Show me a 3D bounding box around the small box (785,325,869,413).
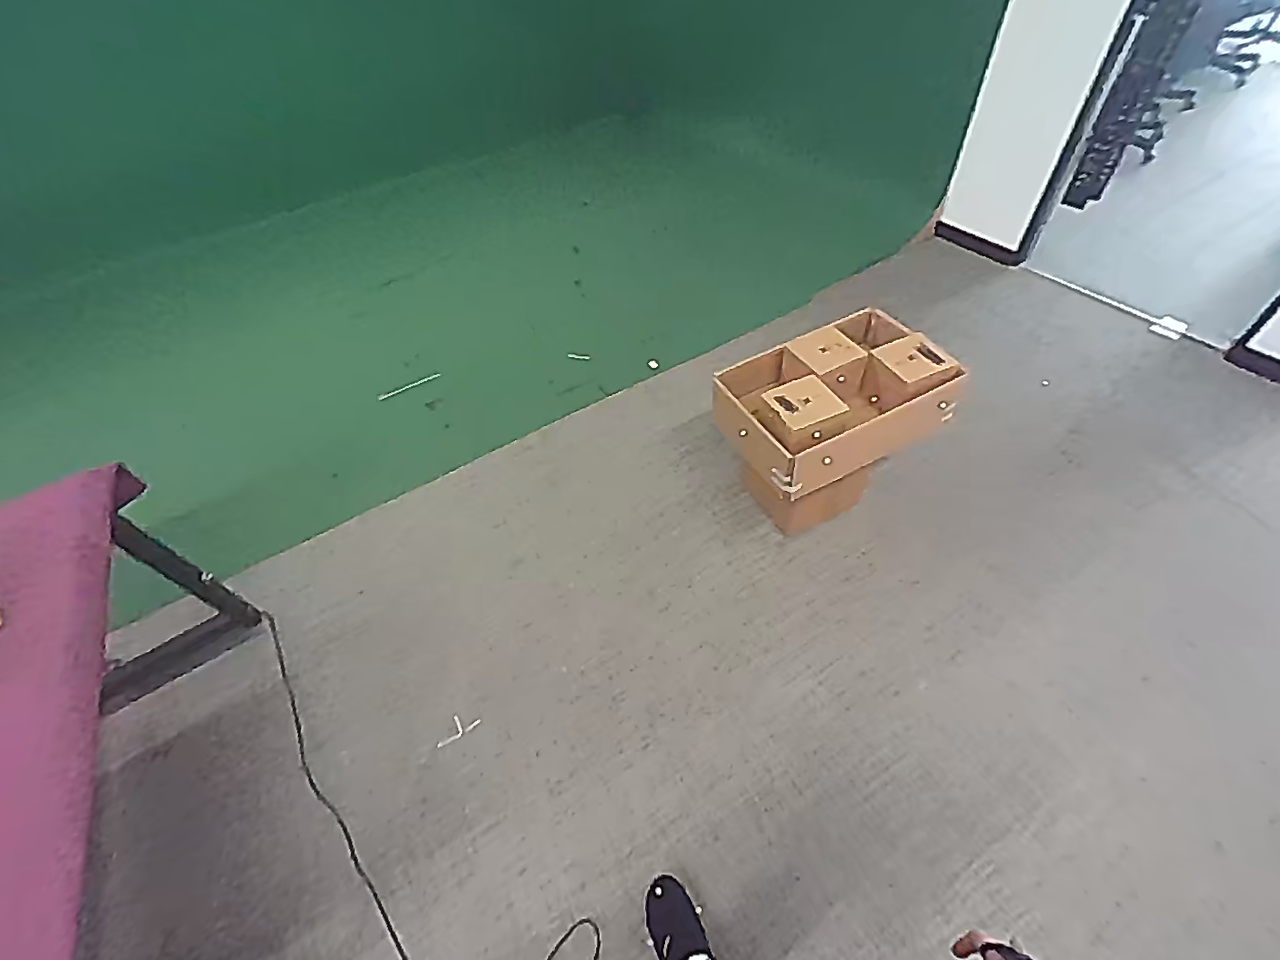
[{"bbox_3d":[0.553,-0.329,1.632,0.179,0.176,0.168,-24,54,-12],"label":"small box"}]
